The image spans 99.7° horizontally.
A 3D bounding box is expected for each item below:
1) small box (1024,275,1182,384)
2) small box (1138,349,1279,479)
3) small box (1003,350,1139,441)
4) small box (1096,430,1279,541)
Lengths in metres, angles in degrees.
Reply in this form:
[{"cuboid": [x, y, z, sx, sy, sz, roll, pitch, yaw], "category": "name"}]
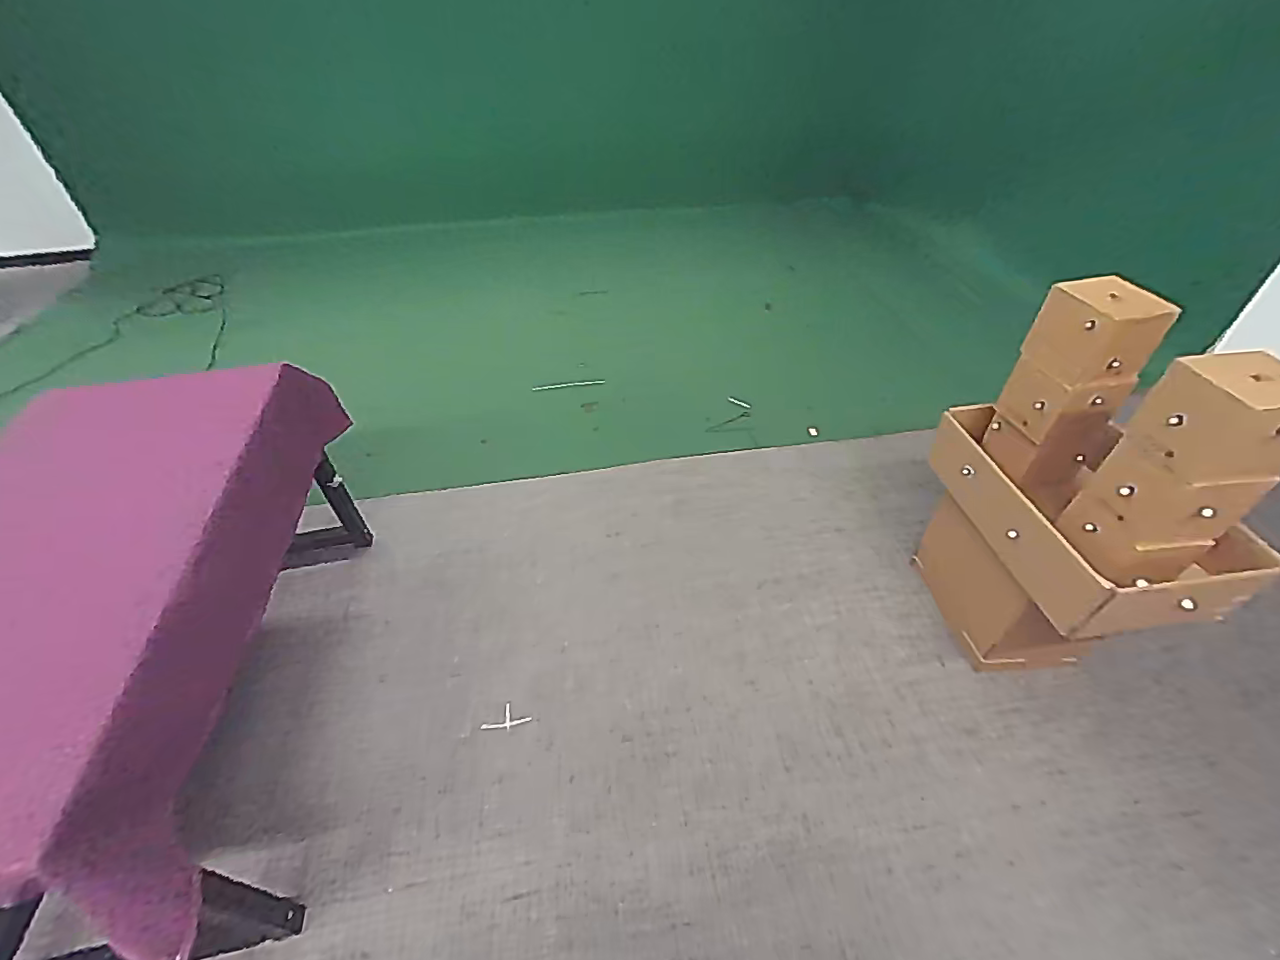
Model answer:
[{"cuboid": [1.022, -0.339, 1.216, 0.168, 0.176, 0.179, -11, 45, -8], "category": "small box"}, {"cuboid": [1.063, -0.116, 0.974, 0.179, 0.176, 0.168, -5, 44, -3], "category": "small box"}, {"cuboid": [1.029, -0.212, 1.318, 0.179, 0.176, 0.168, -9, 44, -7], "category": "small box"}, {"cuboid": [1.071, 0.008, 1.083, 0.179, 0.176, 0.168, -6, 44, -2], "category": "small box"}]
